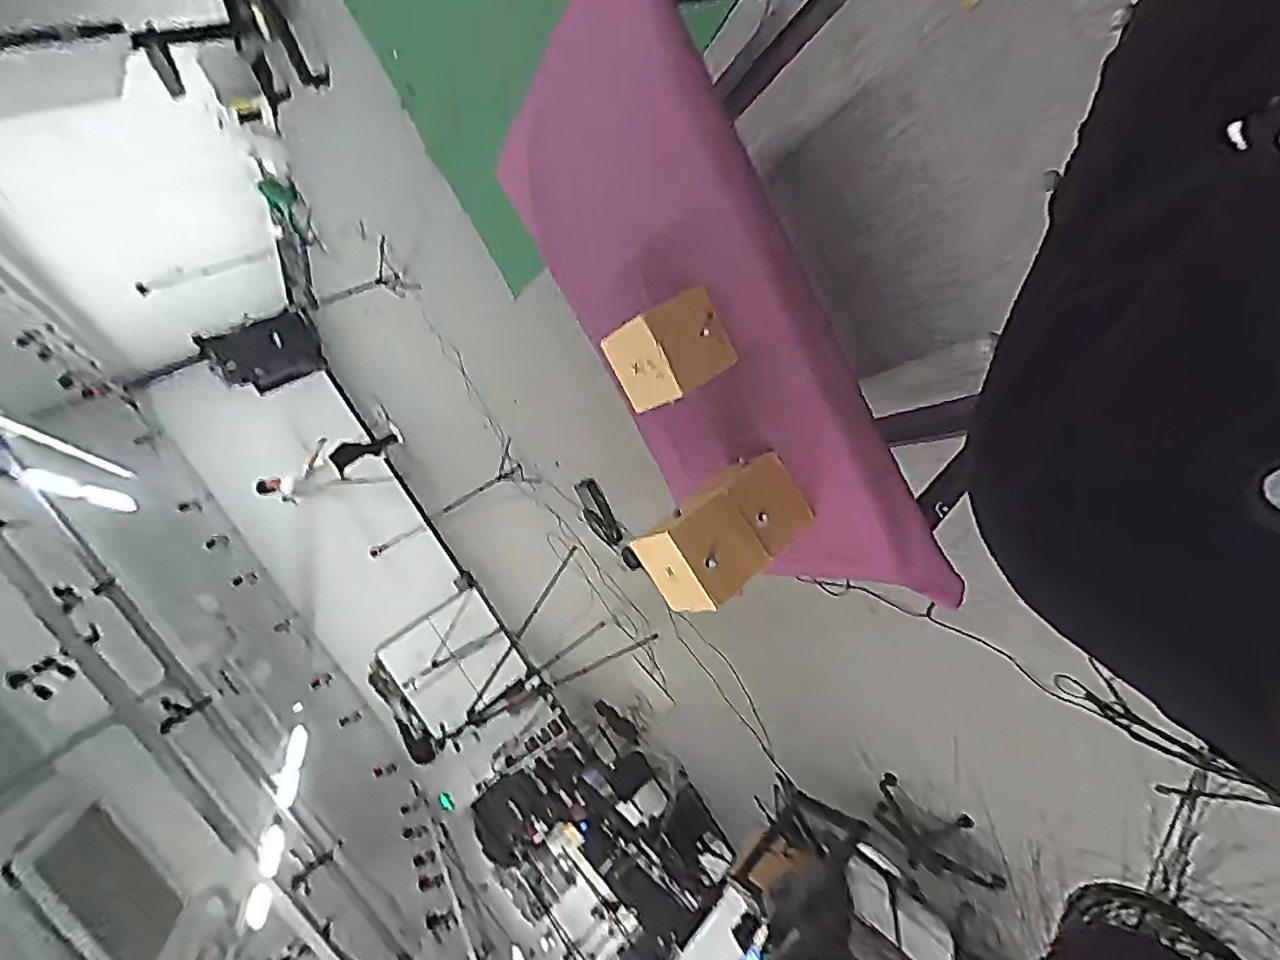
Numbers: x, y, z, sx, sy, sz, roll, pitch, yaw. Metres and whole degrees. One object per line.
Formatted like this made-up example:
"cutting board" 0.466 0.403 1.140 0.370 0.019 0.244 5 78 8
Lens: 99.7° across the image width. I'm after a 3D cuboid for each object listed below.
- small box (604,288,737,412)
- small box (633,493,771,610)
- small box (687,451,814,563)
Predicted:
"small box" 0.062 -0.260 1.095 0.179 0.176 0.168 -10 113 59
"small box" 0.125 0.141 1.088 0.179 0.176 0.168 56 151 -4
"small box" 0.242 0.064 1.170 0.179 0.176 0.168 58 151 -5
